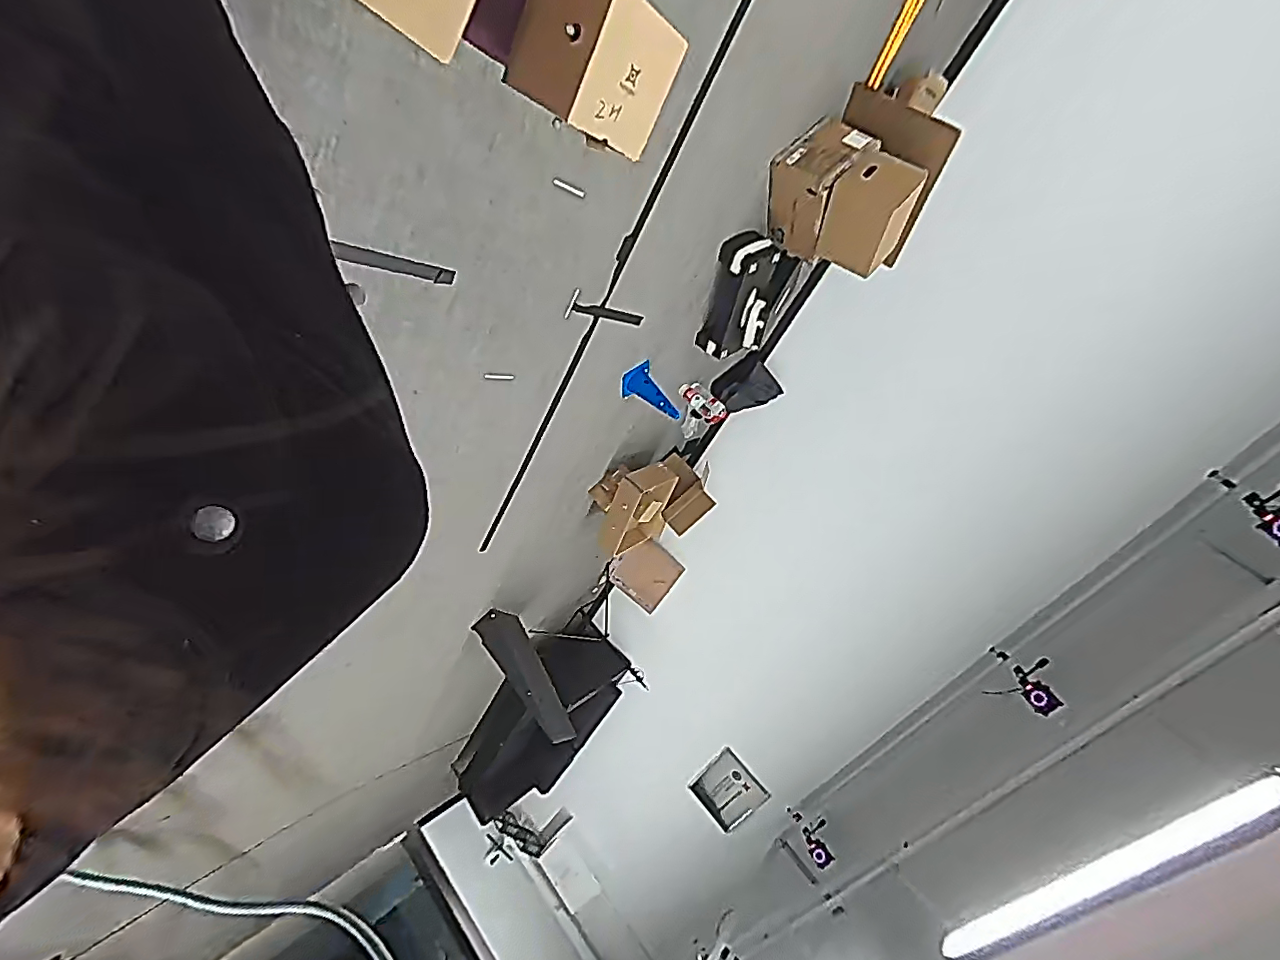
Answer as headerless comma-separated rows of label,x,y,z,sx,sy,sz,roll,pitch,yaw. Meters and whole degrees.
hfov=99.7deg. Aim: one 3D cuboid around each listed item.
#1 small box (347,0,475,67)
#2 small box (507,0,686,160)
small box,-0.268,-0.582,0.543,0.179,0.176,0.168,-54,156,22
small box,-0.070,-0.627,0.808,0.168,0.176,0.179,-11,139,-52
